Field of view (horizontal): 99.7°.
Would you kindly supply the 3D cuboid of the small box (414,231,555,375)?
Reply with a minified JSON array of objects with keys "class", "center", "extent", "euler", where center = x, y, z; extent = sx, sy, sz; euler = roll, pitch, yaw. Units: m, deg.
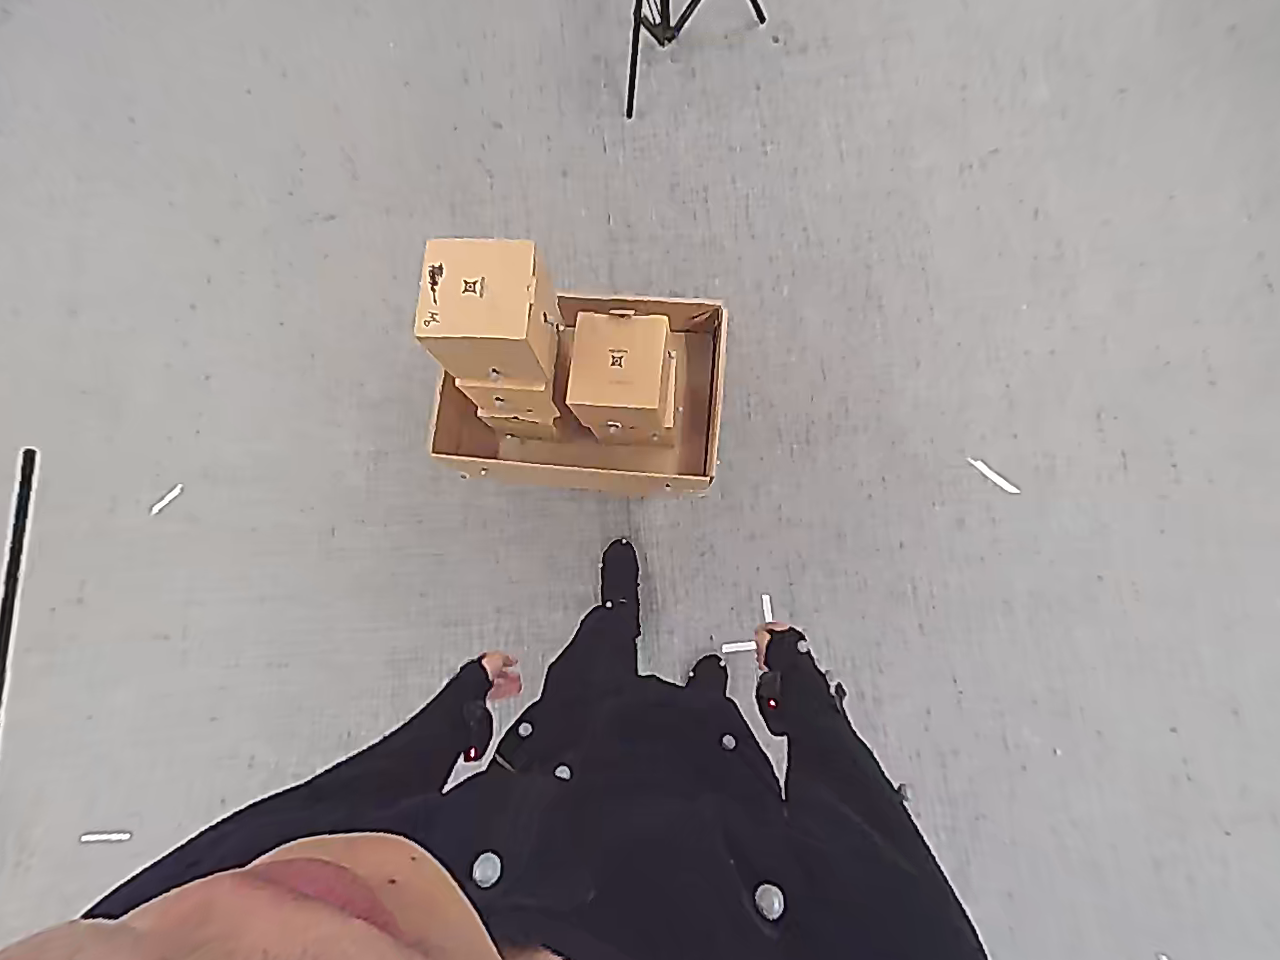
[{"class":"small box","center":[-0.243,-0.282,0.893],"extent":[0.179,0.176,0.168],"euler":[3,79,2]}]

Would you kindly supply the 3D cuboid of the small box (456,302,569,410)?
[{"class":"small box","center":[-0.238,-0.243,1.053],"extent":[0.168,0.176,0.179],"euler":[4,80,3]}]

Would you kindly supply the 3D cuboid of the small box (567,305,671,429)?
[{"class":"small box","center":[-0.031,-0.208,1.026],"extent":[0.168,0.176,0.179],"euler":[5,80,7]}]
